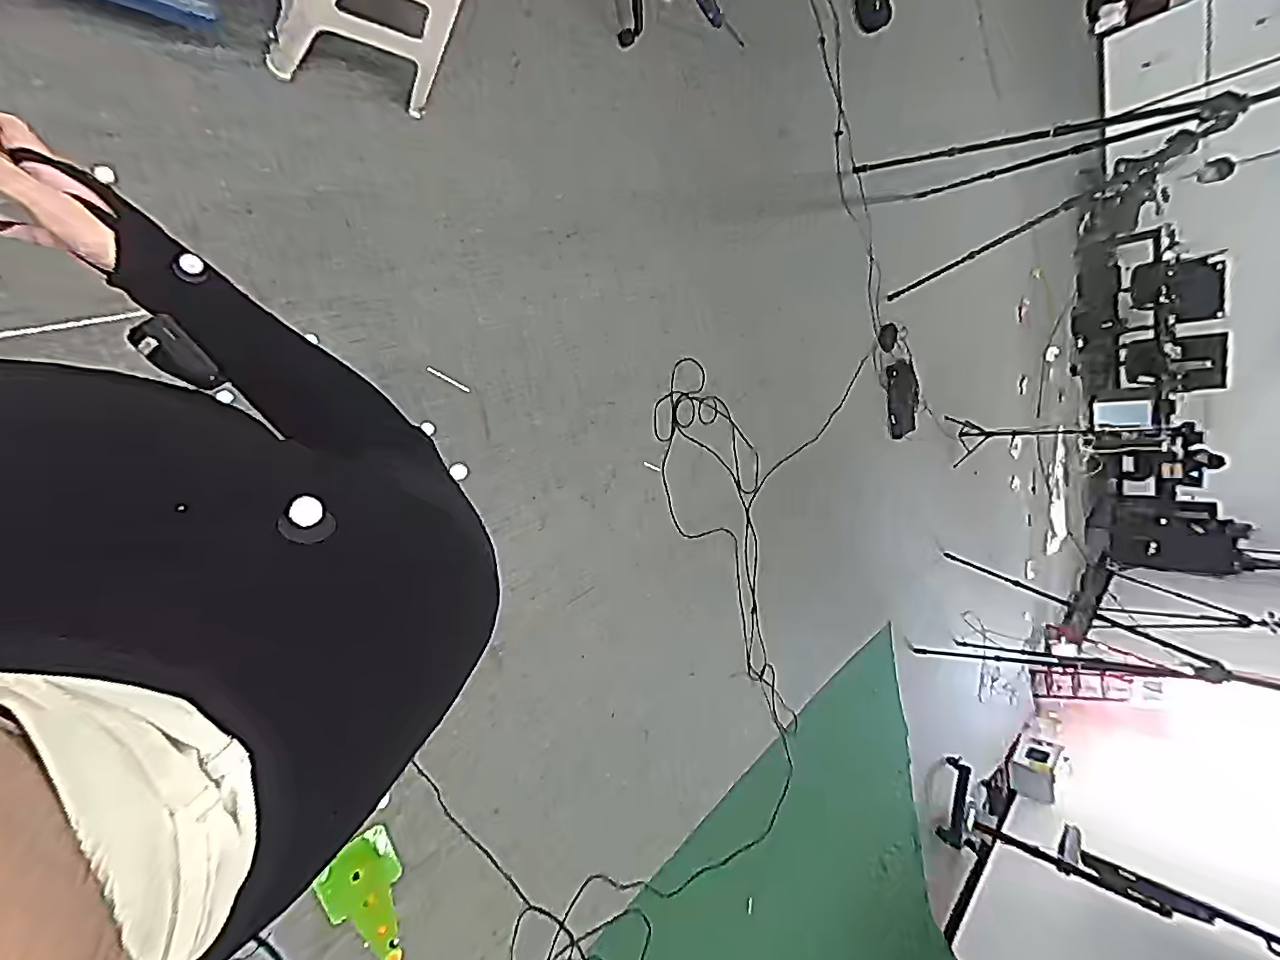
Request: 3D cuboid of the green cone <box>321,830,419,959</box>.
[{"bbox_3d":[-0.663,1.143,1.412,0.202,0.368,0.200,-26,109,-38],"label":"green cone"}]
